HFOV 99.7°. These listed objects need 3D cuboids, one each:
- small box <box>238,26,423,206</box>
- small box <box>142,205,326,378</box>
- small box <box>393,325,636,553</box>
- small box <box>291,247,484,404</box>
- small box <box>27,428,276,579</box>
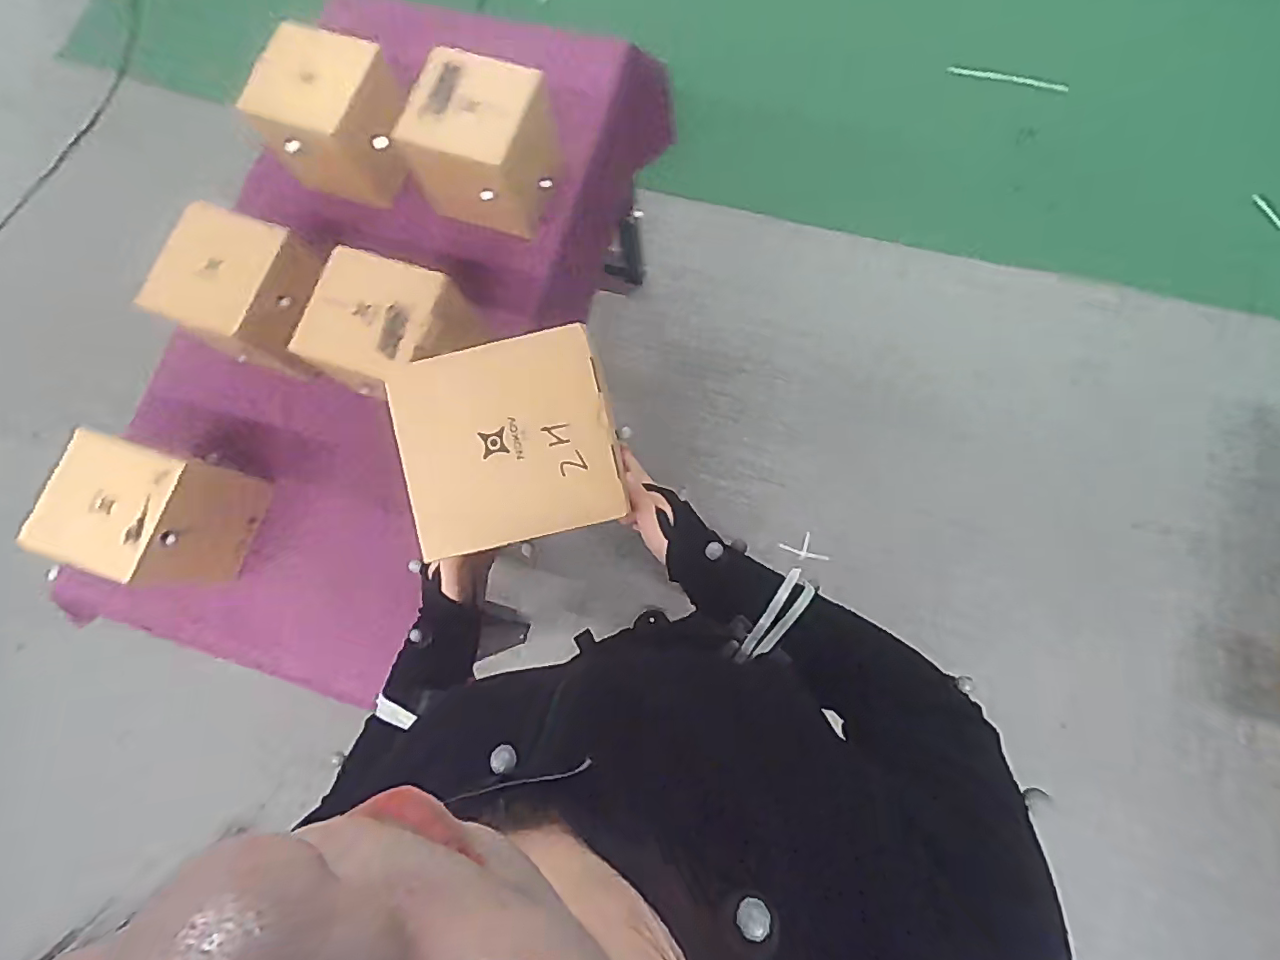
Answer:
[{"bbox_3d":[-0.497,-0.591,0.898,0.179,0.176,0.168,19,81,9],"label":"small box"},{"bbox_3d":[-0.598,-0.283,0.847,0.168,0.176,0.179,19,81,7],"label":"small box"},{"bbox_3d":[-0.105,-0.030,0.525,0.179,0.176,0.168,-11,89,1],"label":"small box"},{"bbox_3d":[-0.362,-0.211,0.811,0.179,0.176,0.168,17,81,9],"label":"small box"},{"bbox_3d":[-0.693,0.044,0.789,0.179,0.176,0.168,17,80,8],"label":"small box"}]
